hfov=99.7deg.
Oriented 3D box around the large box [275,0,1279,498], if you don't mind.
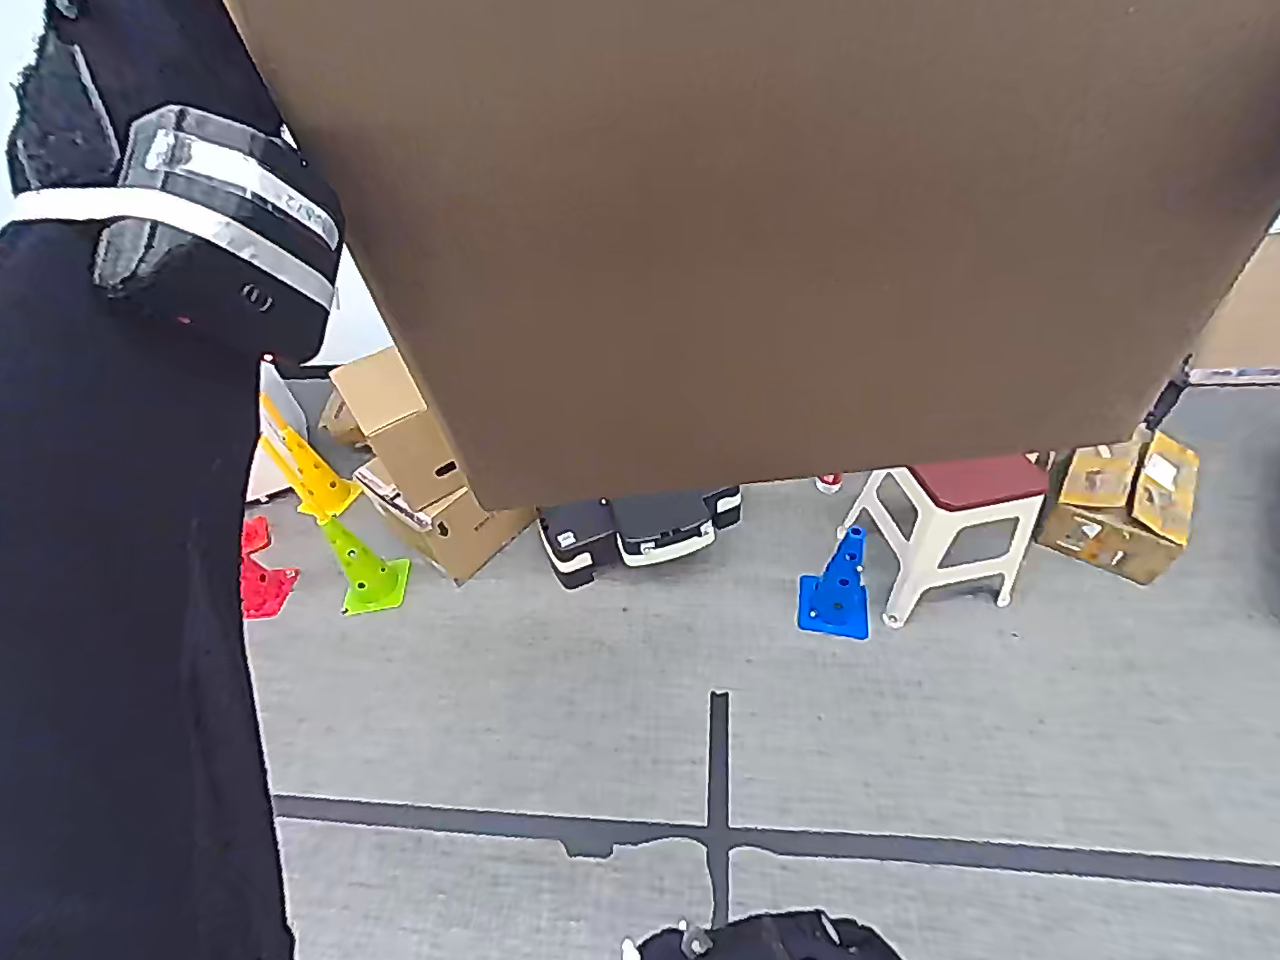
[{"bbox_3d":[0.069,-0.217,0.356,0.408,0.320,0.320,-6,44,2],"label":"large box"}]
